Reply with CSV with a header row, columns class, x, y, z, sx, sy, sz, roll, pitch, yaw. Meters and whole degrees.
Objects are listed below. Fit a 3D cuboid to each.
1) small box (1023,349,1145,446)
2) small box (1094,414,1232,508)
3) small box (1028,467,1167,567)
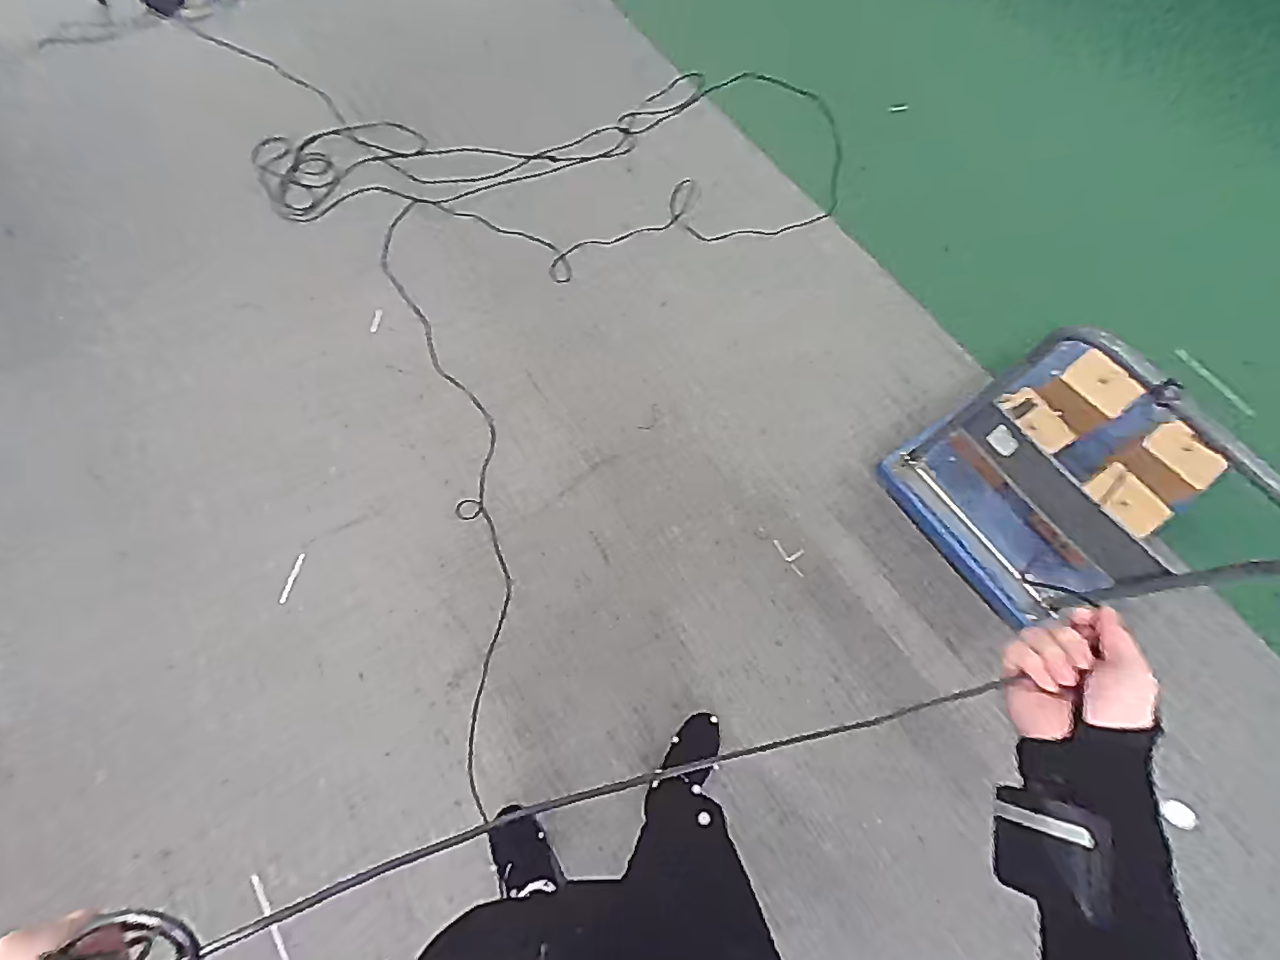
class,x,y,z,sx,sy,sz,roll,pitch,yaw
small box,1.225,-0.224,1.512,0.179,0.176,0.168,-35,73,-14
small box,1.379,-0.038,1.440,0.179,0.176,0.168,-35,72,-13
small box,1.154,0.098,1.379,0.179,0.176,0.168,-30,72,-12
